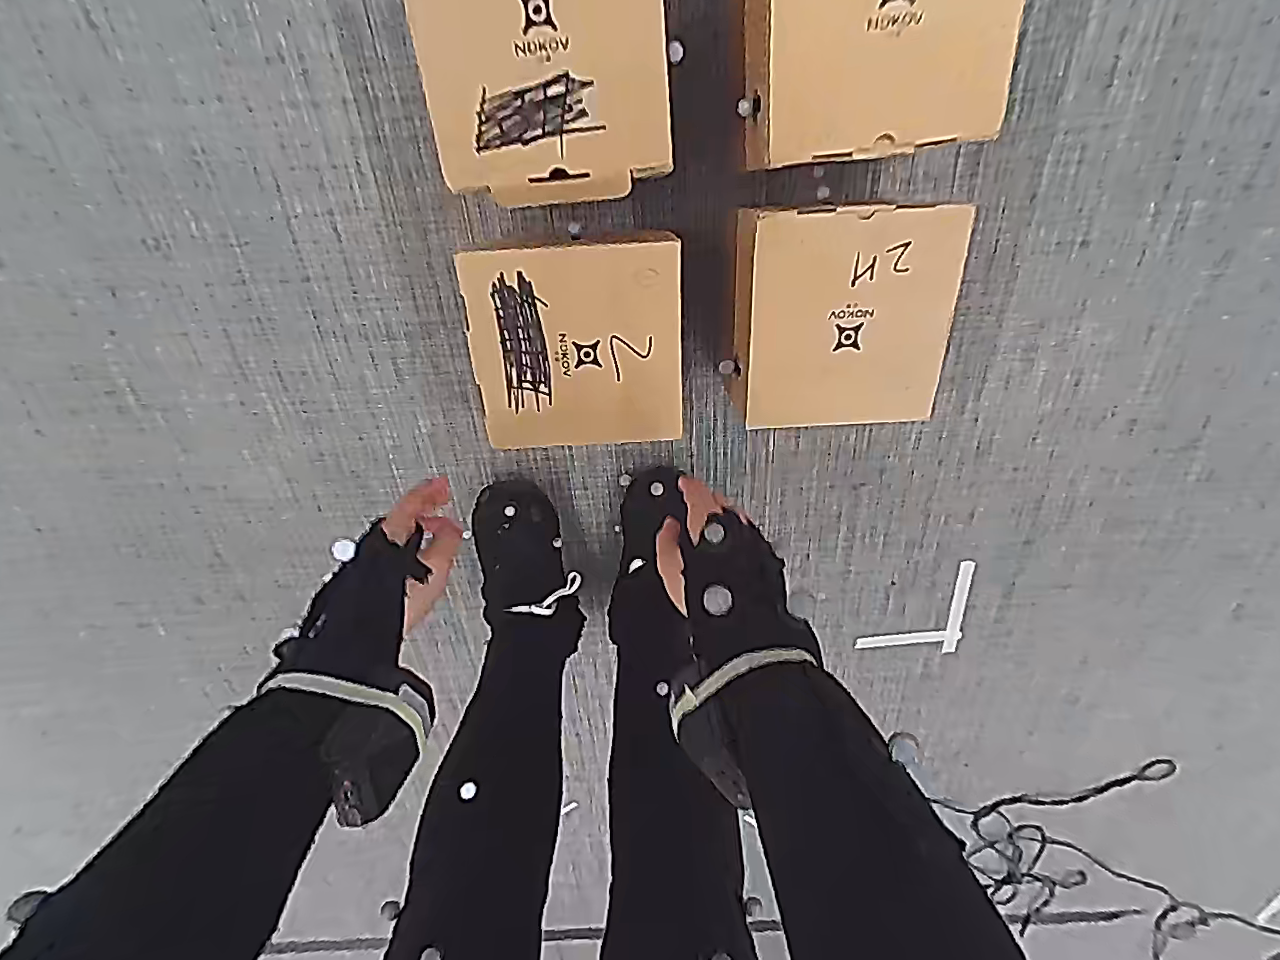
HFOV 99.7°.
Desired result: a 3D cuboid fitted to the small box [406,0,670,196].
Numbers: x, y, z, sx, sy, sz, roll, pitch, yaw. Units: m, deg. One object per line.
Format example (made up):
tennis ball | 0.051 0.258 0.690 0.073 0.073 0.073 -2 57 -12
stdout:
small box | -0.065 -0.322 0.417 0.168 0.176 0.179 -4 116 1
